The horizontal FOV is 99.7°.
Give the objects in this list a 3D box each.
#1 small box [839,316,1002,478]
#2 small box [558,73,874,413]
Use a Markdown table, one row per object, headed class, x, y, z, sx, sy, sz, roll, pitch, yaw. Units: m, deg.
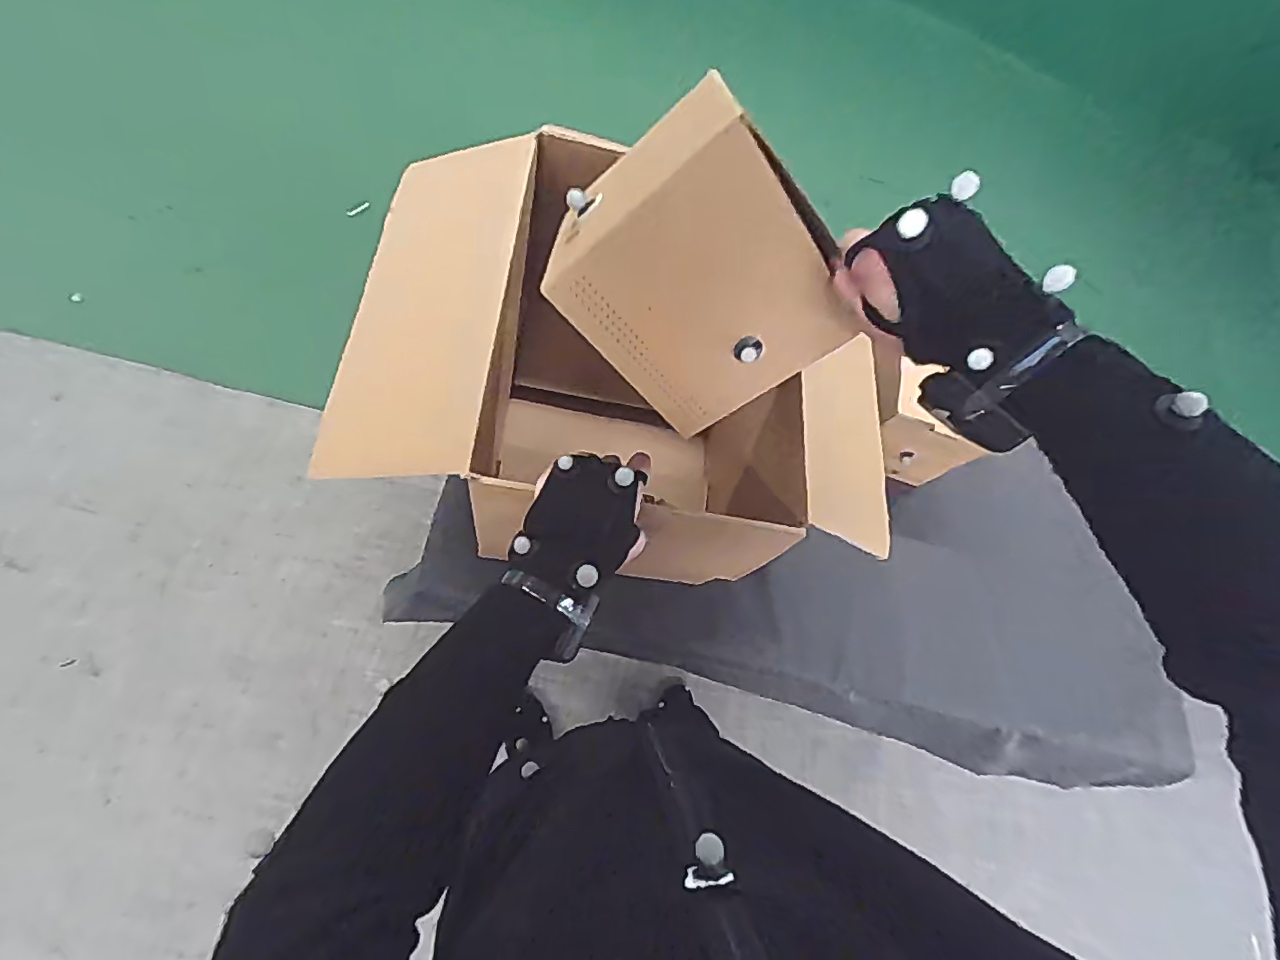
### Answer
| class | x | y | z | sx | sy | sz | roll | pitch | yaw |
| --- | --- | --- | --- | --- | --- | --- | --- | --- | --- |
| small box | 0.442 | -0.122 | 0.870 | 0.168 | 0.176 | 0.179 | 18 | 68 | -7 |
| small box | 0.059 | -0.180 | 0.449 | 0.179 | 0.176 | 0.168 | 41 | 32 | -33 |
